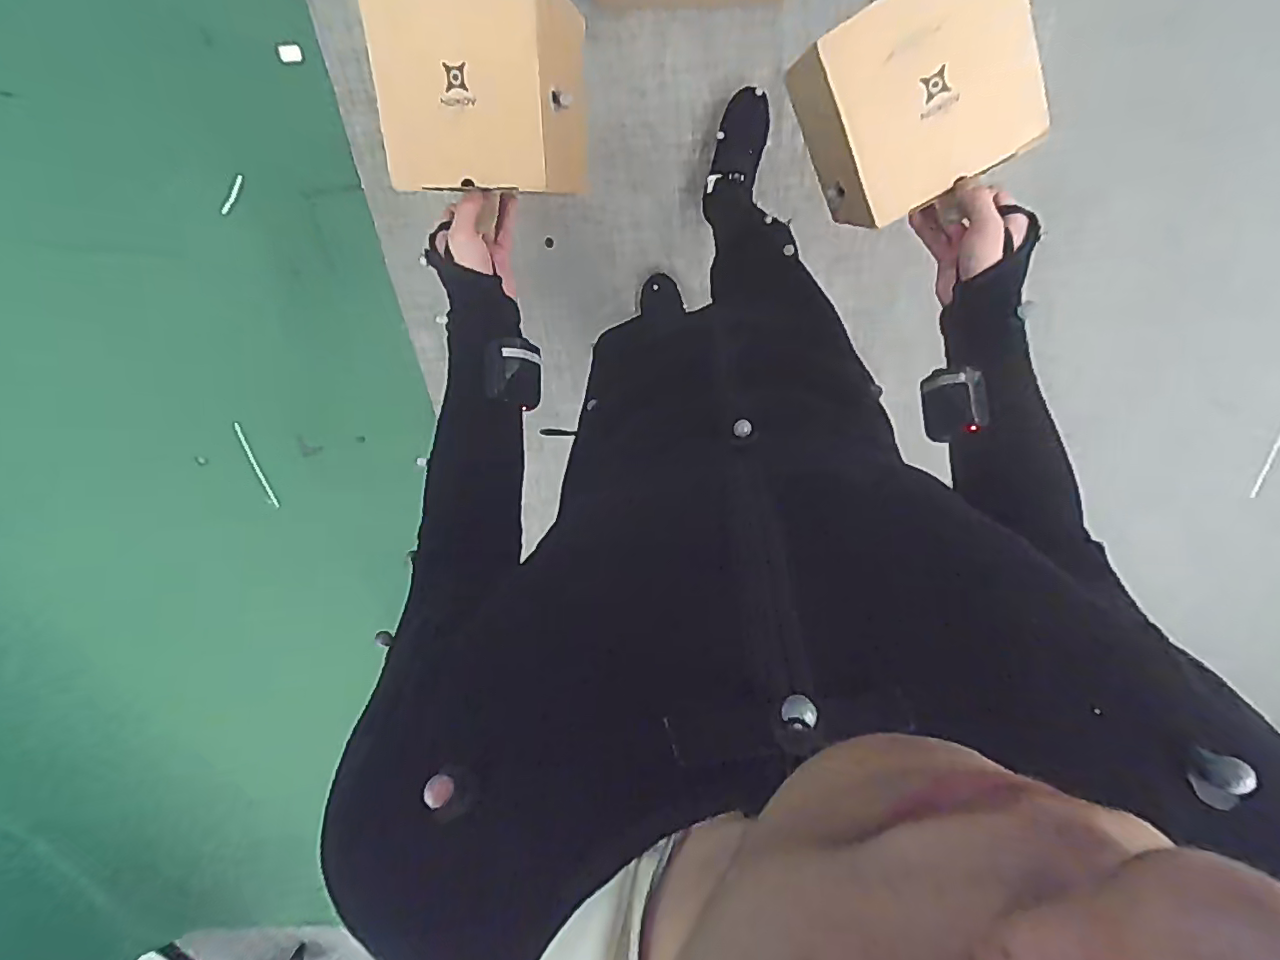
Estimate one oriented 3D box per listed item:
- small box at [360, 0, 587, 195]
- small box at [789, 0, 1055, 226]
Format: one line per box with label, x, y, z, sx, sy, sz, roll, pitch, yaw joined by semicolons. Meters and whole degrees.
small box;-0.154;-0.398;0.559;0.168;0.176;0.179;4;117;8
small box;0.268;-0.385;0.545;0.168;0.176;0.179;-25;114;15
